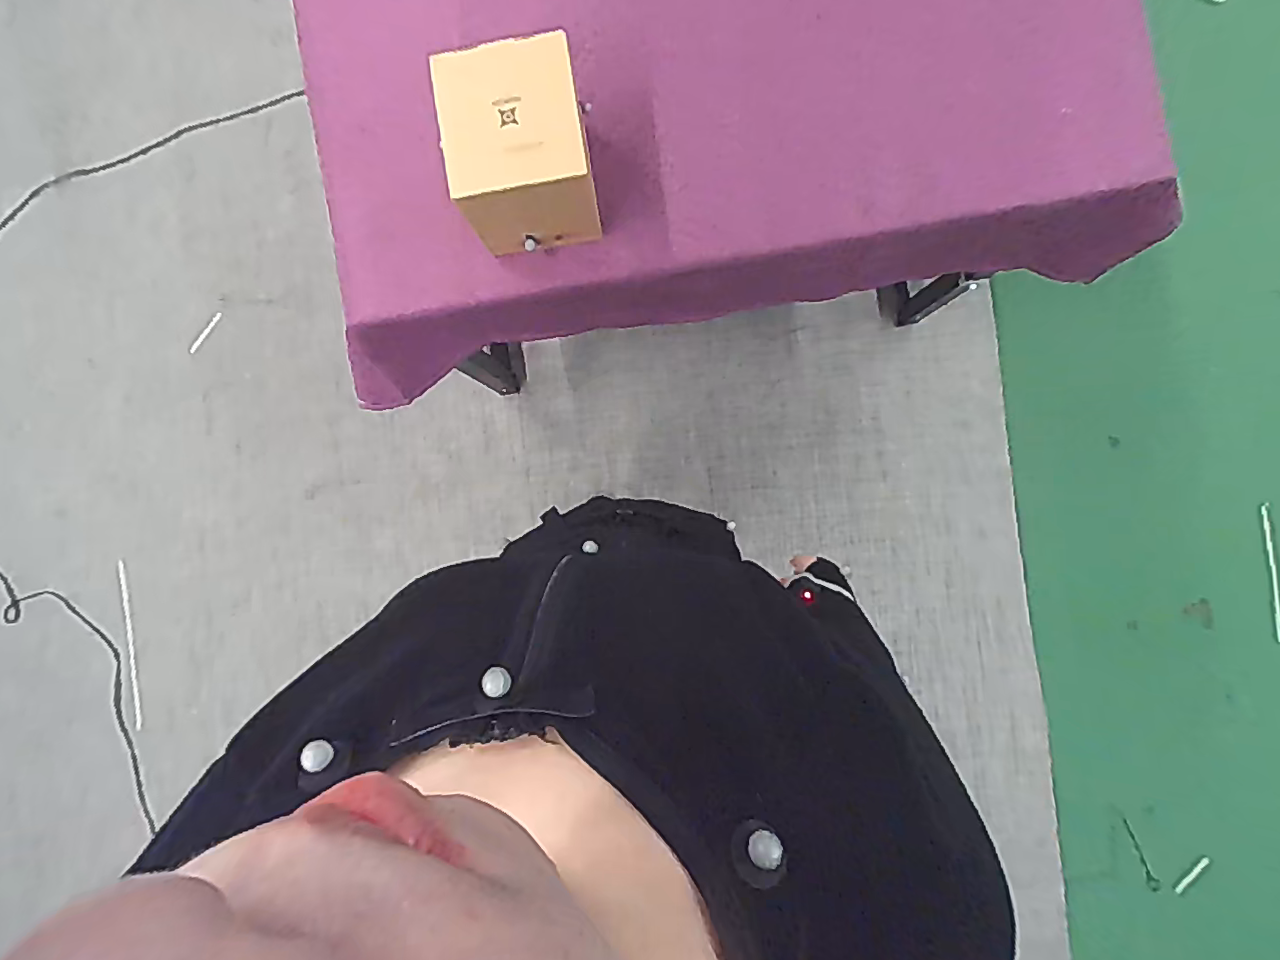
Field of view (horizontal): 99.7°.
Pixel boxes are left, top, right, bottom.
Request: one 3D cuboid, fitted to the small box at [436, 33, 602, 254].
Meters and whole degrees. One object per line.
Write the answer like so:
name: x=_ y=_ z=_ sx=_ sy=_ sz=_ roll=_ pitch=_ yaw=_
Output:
small box: x=-0.147 y=-0.427 z=0.713 sx=0.168 sy=0.176 sz=0.179 roll=-8 pitch=90 yaw=2
